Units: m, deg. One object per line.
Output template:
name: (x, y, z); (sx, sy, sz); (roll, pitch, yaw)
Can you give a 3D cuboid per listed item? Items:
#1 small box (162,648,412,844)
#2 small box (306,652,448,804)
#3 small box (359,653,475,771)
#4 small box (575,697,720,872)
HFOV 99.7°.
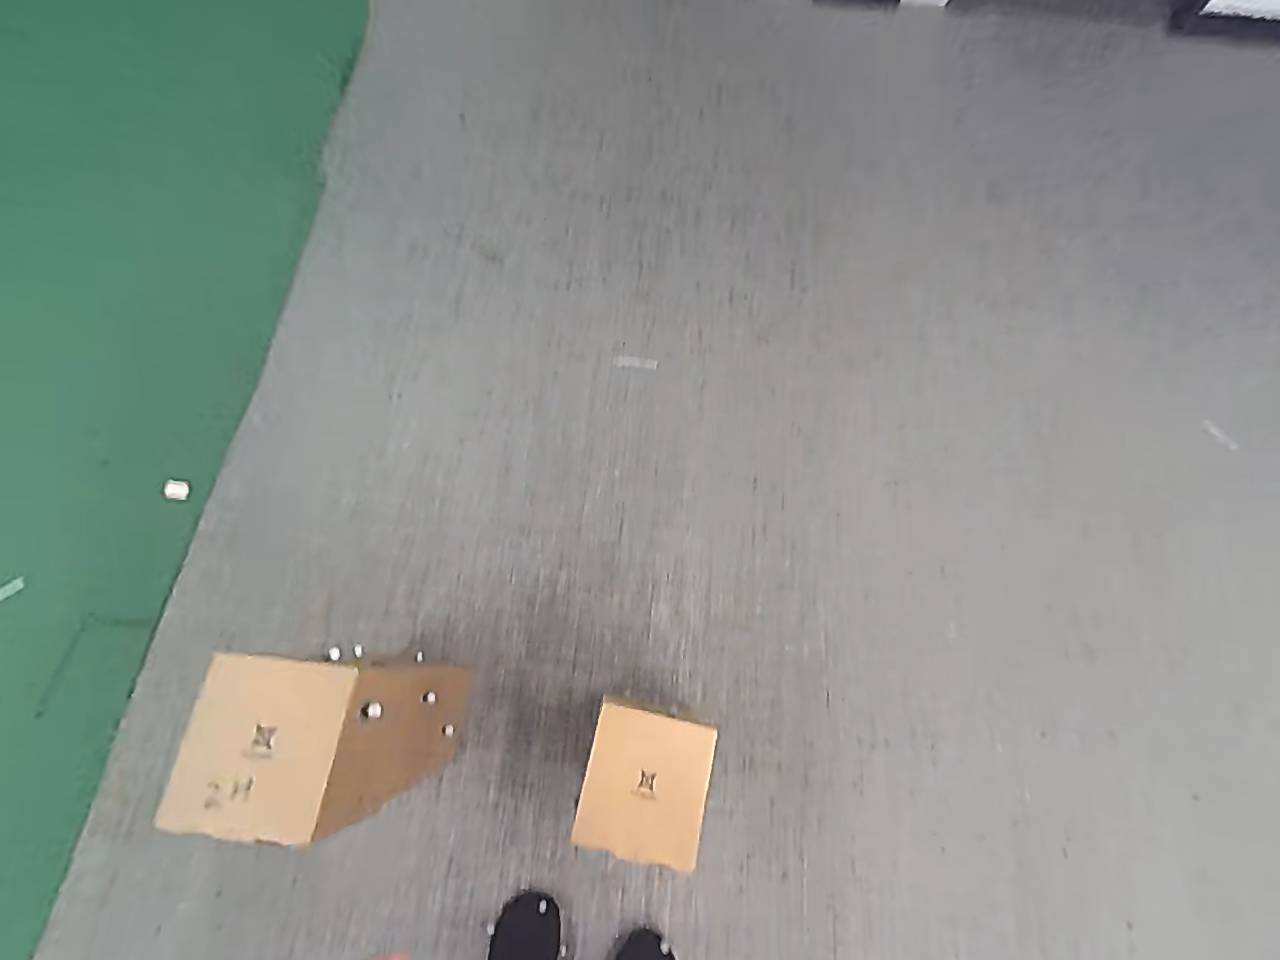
small box: (-0.398, 0.305, 0.650); (0.168, 0.176, 0.179); (6, 70, 2)
small box: (-0.403, 0.358, 0.807); (0.168, 0.176, 0.179); (6, 71, 2)
small box: (-0.410, 0.411, 0.960); (0.168, 0.176, 0.179); (9, 71, 2)
small box: (0.010, 0.427, 0.792); (0.168, 0.176, 0.179); (12, 71, 3)
